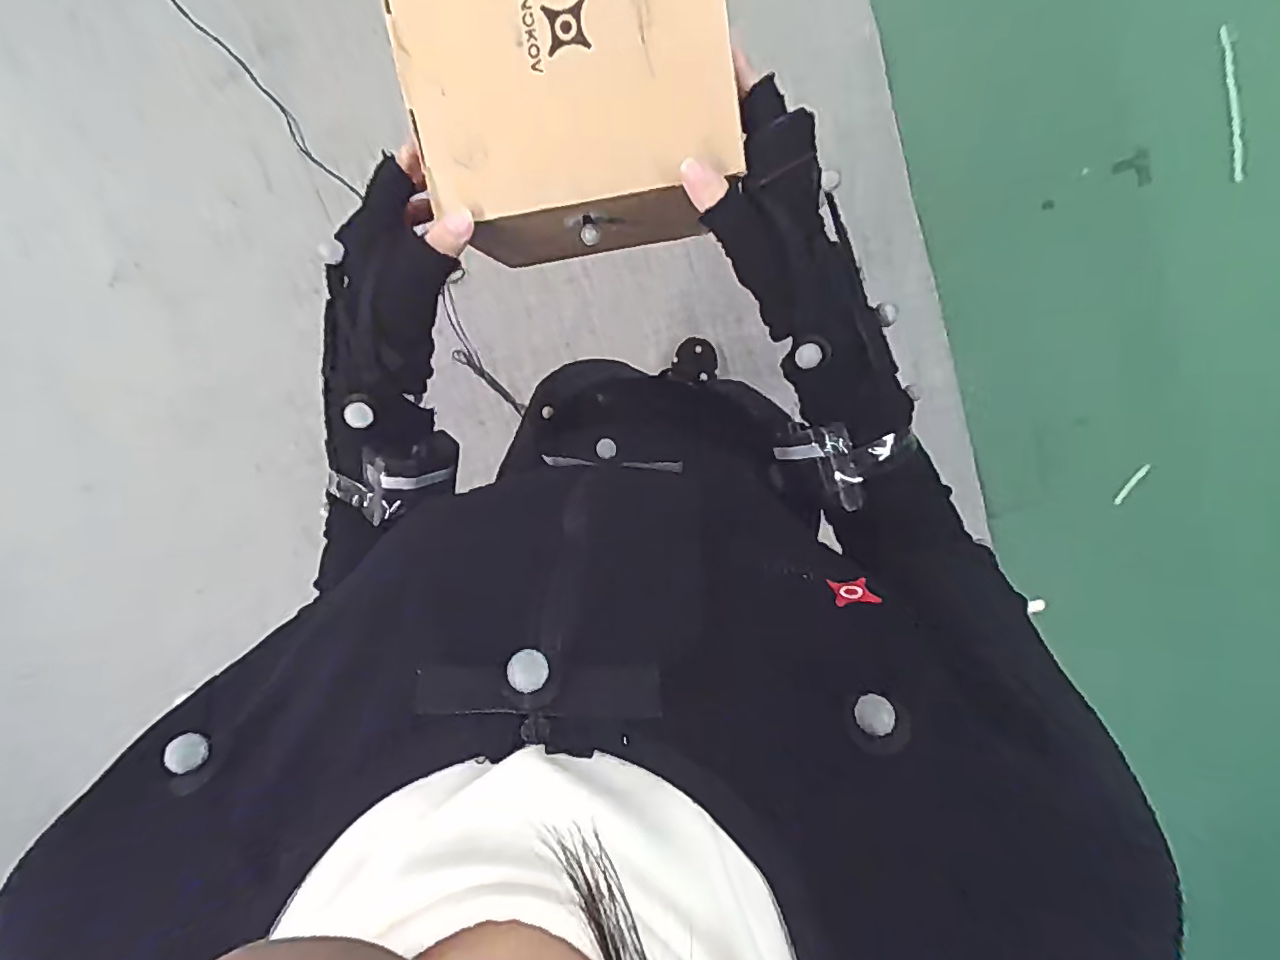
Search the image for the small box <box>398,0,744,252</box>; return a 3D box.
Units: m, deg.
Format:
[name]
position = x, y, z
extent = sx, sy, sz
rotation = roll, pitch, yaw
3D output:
[small box]
position = -0.037, -0.264, 0.363
extent = 0.179, 0.176, 0.168
rotation = -10, 104, 3
